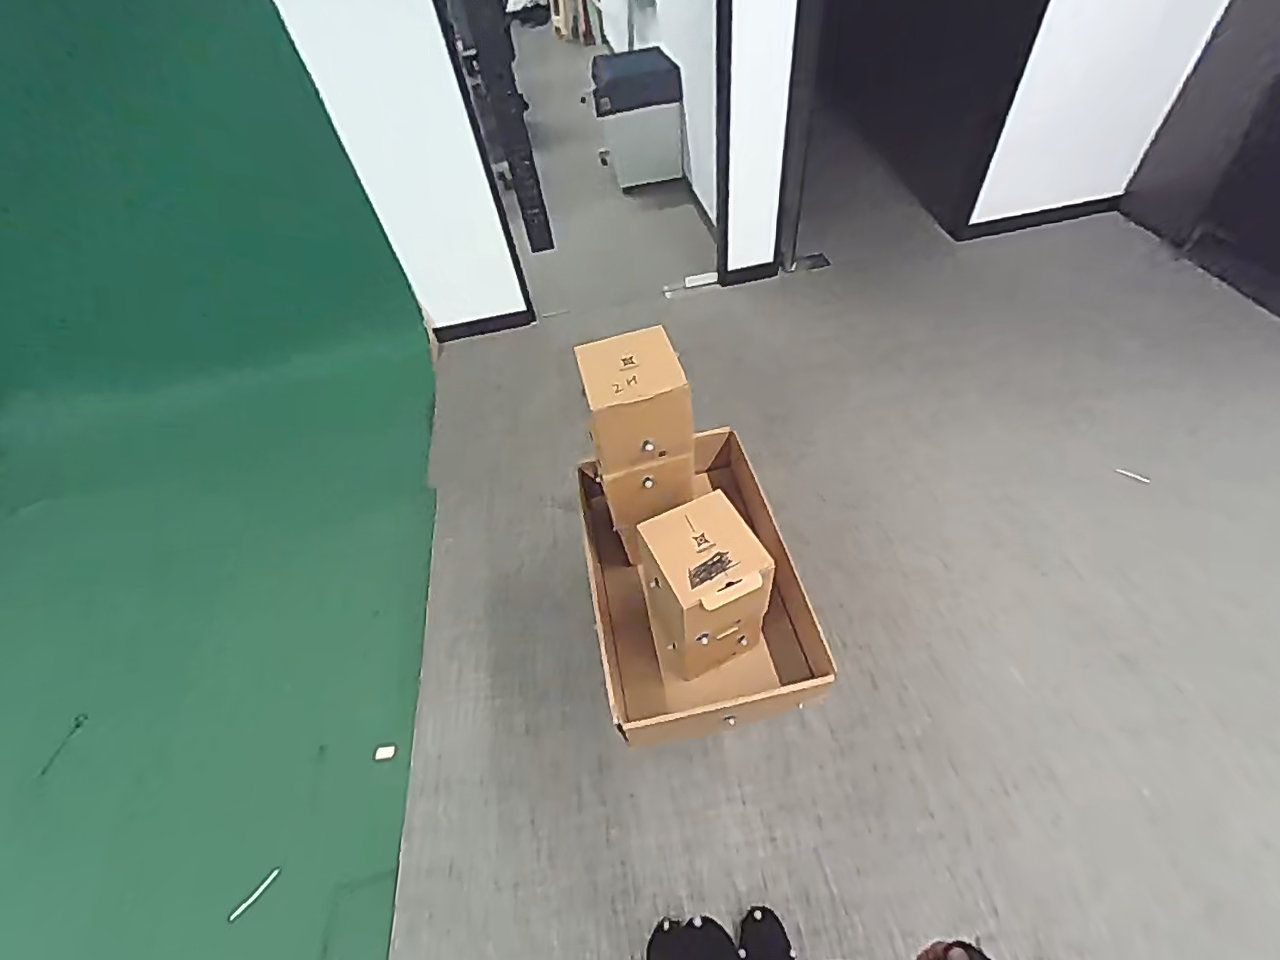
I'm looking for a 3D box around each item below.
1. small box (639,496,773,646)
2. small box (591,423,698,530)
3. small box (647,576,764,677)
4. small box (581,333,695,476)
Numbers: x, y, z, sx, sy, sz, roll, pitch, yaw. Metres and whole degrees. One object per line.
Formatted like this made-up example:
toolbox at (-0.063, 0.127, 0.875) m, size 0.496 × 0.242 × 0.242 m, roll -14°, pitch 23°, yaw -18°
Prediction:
small box at (0.113, 0.166, 0.942) m, size 0.168 × 0.176 × 0.179 m, roll -22°, pitch 50°, yaw -11°
small box at (0.012, -0.024, 1.109) m, size 0.179 × 0.176 × 0.168 m, roll -16°, pitch 51°, yaw -4°
small box at (0.127, 0.267, 1.070) m, size 0.168 × 0.176 × 0.179 m, roll -22°, pitch 51°, yaw -11°
small box at (-0.002, -0.136, 0.989) m, size 0.168 × 0.176 × 0.179 m, roll -15°, pitch 51°, yaw -2°
